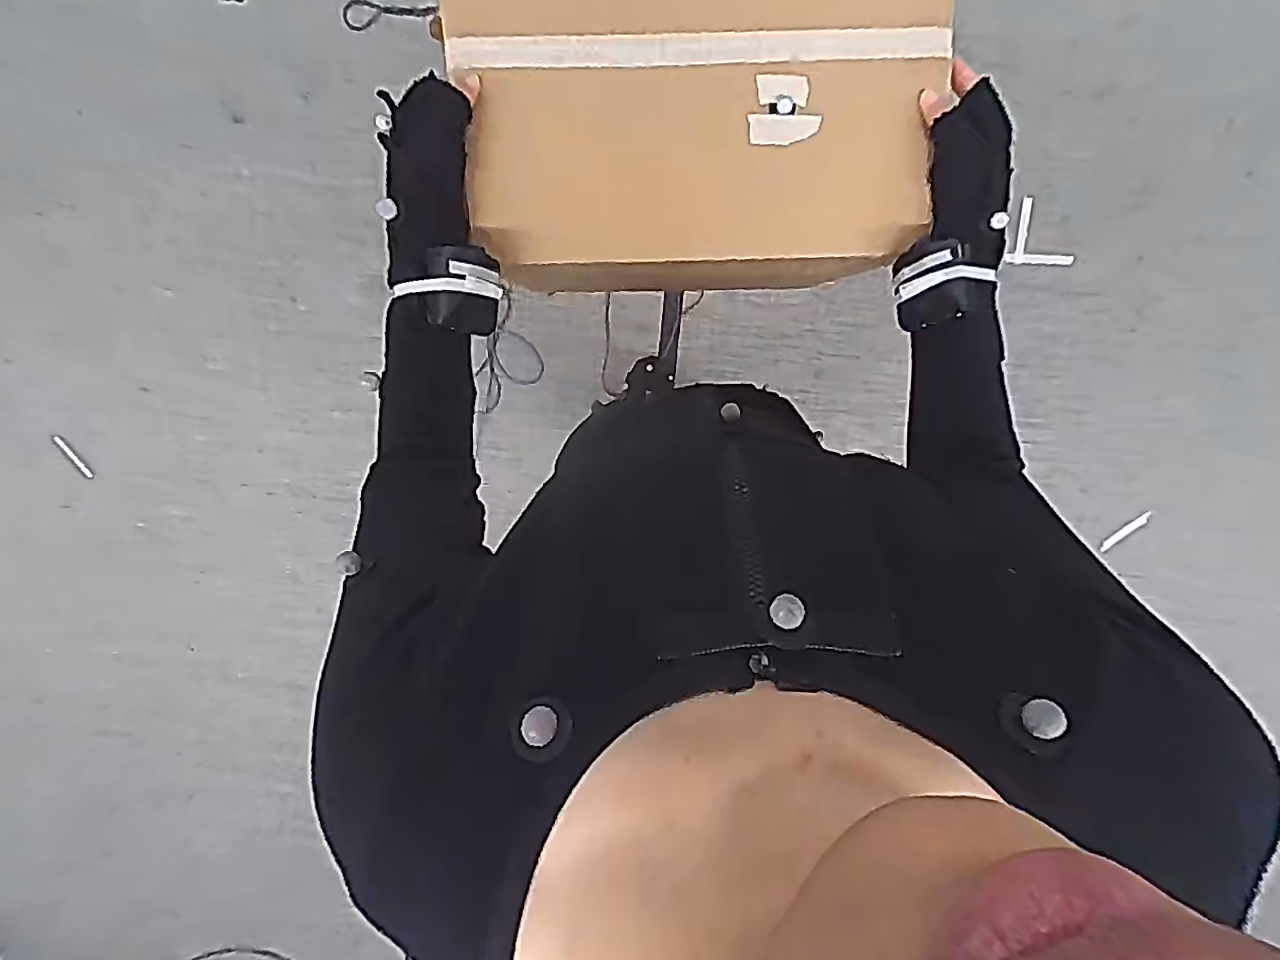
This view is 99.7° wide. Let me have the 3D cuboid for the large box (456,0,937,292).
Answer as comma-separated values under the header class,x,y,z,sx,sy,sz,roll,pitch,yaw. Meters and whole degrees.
class,x,y,z,sx,sy,sz,roll,pitch,yaw
large box,0.043,-0.390,0.598,0.408,0.320,0.320,-2,105,-2
